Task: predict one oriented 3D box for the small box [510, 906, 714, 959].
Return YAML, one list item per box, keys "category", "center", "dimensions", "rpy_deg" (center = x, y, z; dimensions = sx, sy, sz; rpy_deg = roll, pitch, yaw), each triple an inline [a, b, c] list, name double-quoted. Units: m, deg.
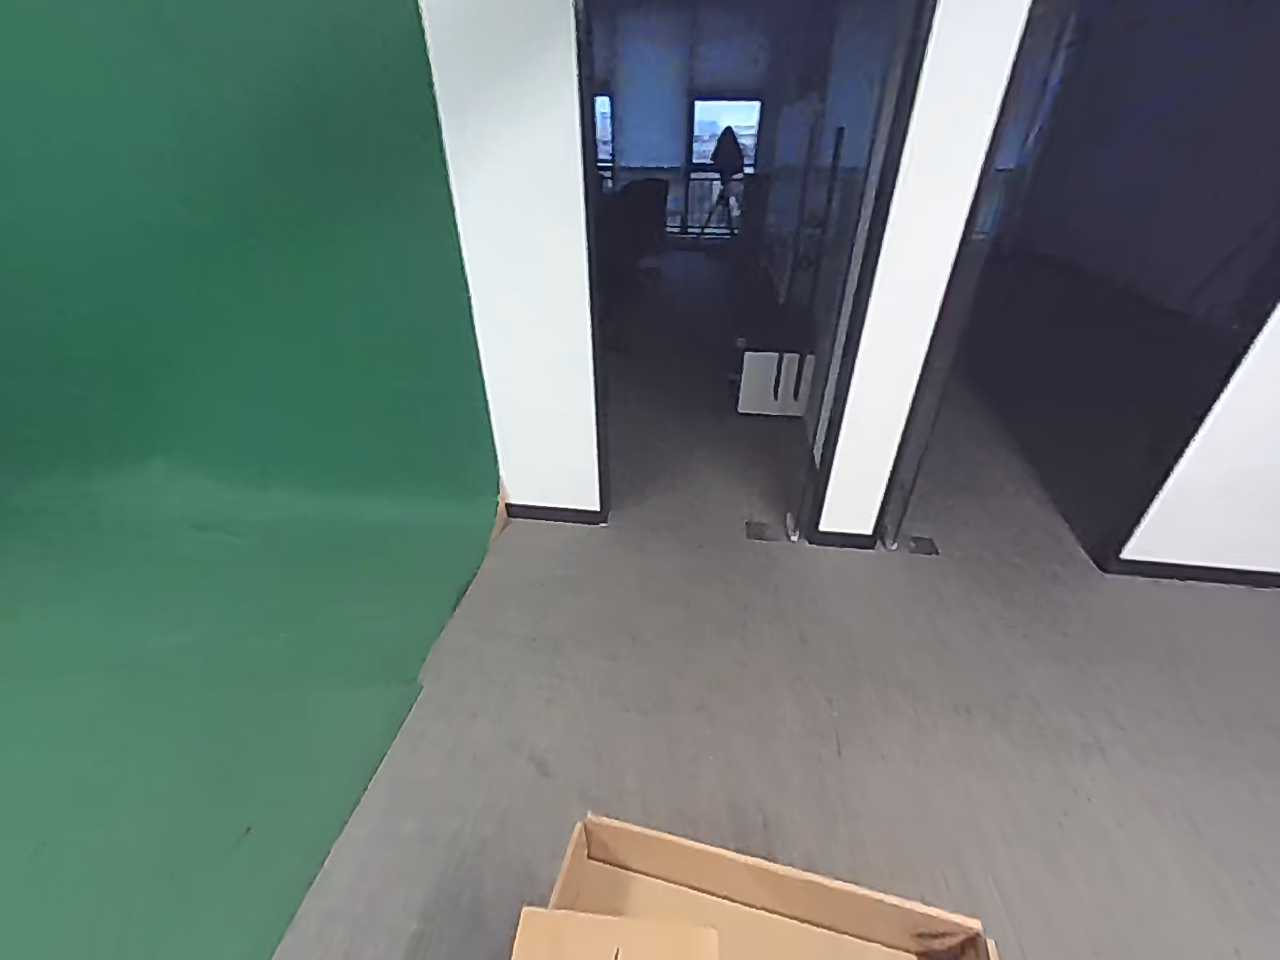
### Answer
- category: "small box"
  center: [-0.025, 0.481, 0.435]
  dimensions: [0.168, 0.176, 0.179]
  rpy_deg: [2, 39, 5]
